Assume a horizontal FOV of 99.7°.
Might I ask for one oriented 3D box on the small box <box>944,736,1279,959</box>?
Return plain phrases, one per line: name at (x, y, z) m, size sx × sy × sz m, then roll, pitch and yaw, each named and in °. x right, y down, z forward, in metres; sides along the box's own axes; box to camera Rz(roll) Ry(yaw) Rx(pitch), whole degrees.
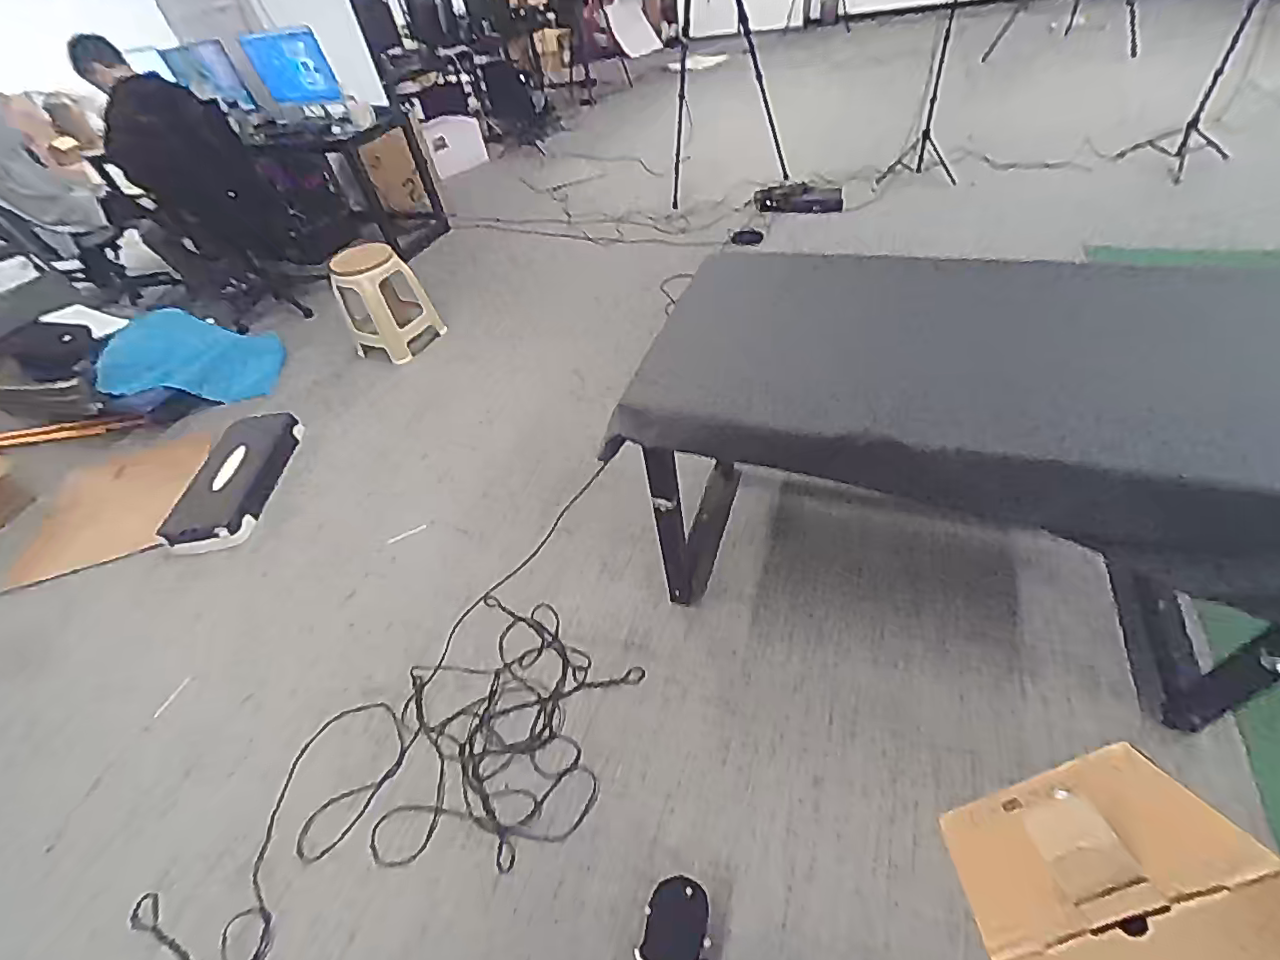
small box at (0.346, 0.314, 0.368) m, size 0.168 × 0.176 × 0.179 m, roll -34°, pitch 76°, yaw 13°
